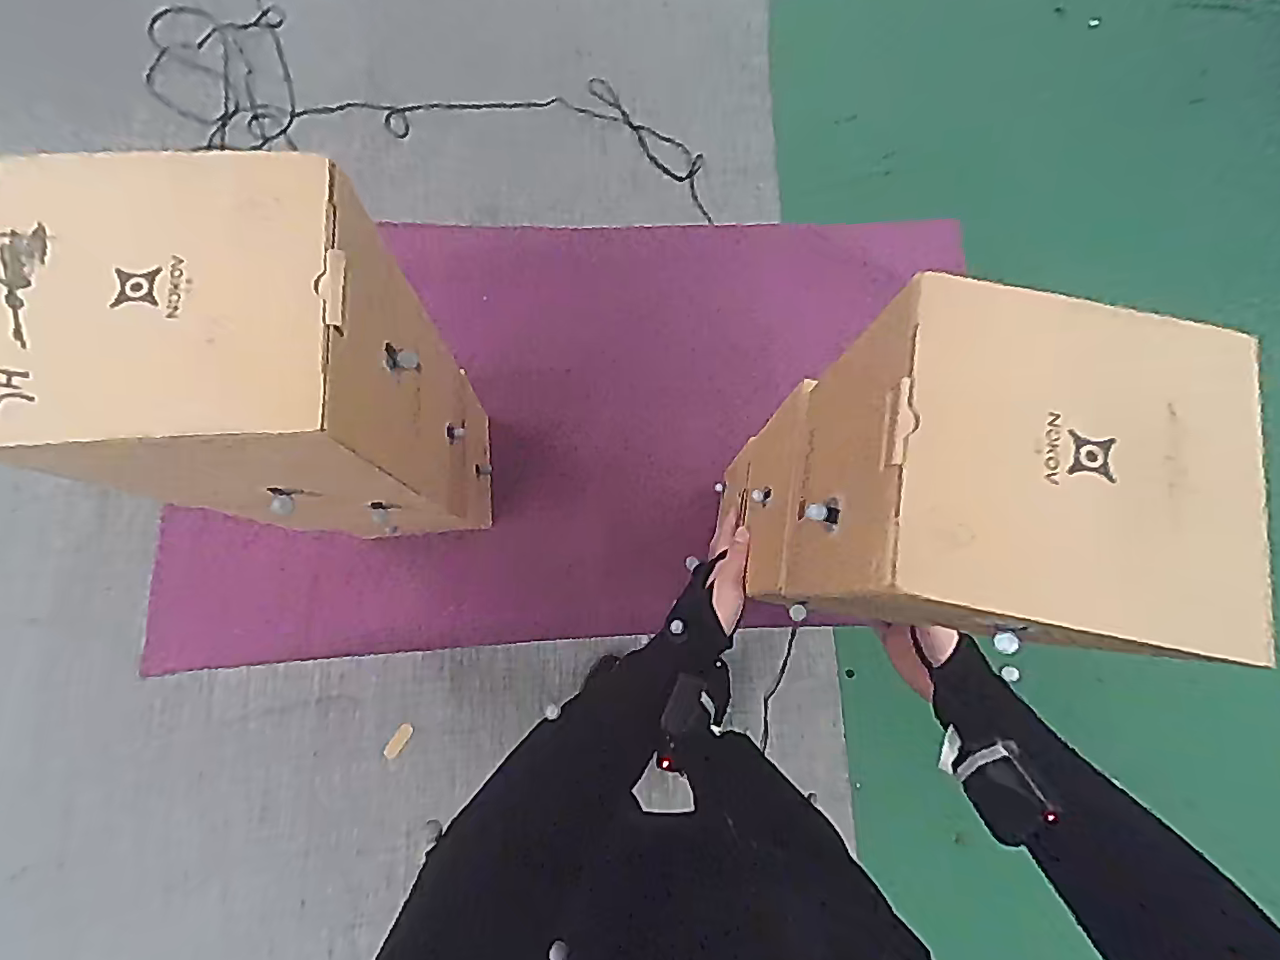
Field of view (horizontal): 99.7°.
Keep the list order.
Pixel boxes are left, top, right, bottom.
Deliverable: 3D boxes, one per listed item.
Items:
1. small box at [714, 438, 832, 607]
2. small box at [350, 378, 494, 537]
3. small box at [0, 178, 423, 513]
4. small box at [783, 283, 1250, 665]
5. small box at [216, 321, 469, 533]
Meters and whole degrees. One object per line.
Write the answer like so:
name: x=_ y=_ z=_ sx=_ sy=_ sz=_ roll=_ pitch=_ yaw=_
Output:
small box: x=0.194 y=0.061 z=0.663 sx=0.179 sy=0.176 sz=0.168 roll=9 pitch=77 yaw=0
small box: x=-0.287 y=-0.020 z=0.693 sx=0.179 sy=0.176 sz=0.168 roll=-4 pitch=78 yaw=-4
small box: x=-0.259 y=-0.073 z=0.370 sx=0.179 sy=0.176 sz=0.168 roll=-3 pitch=78 yaw=-5
small box: x=0.203 y=0.008 z=0.340 sx=0.179 sy=0.176 sz=0.168 roll=11 pitch=78 yaw=1
small box: x=-0.273 y=-0.041 z=0.530 sx=0.179 sy=0.176 sz=0.168 roll=-2 pitch=77 yaw=-4
